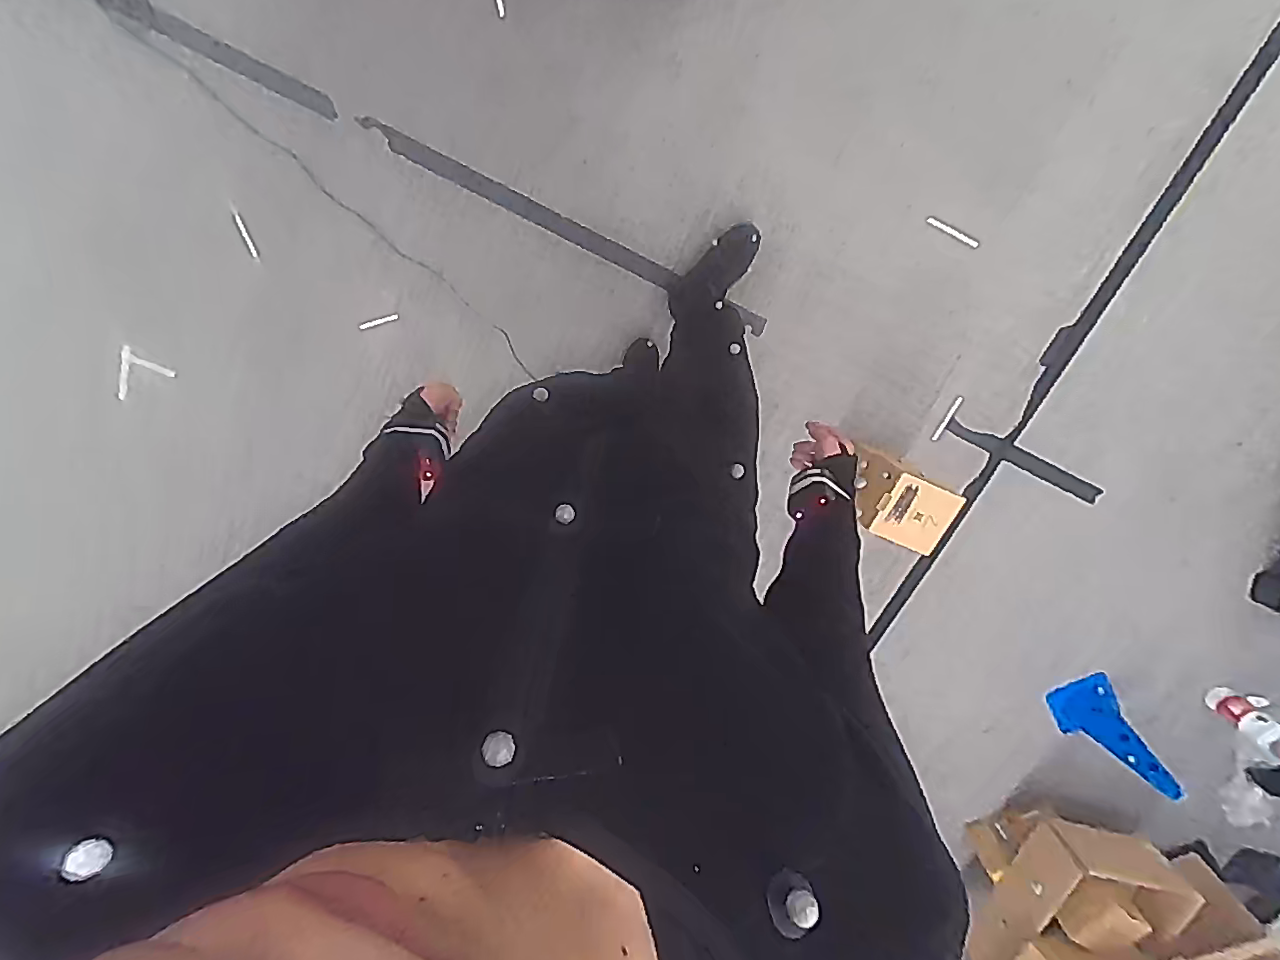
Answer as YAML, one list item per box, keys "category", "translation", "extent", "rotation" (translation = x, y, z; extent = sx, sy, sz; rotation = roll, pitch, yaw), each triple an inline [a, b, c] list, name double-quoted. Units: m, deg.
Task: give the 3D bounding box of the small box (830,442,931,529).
- category: "small box"
  translation: [0.669, 0.008, 1.525]
  extent: [0.179, 0.176, 0.168]
  rotation: [21, 108, -4]
